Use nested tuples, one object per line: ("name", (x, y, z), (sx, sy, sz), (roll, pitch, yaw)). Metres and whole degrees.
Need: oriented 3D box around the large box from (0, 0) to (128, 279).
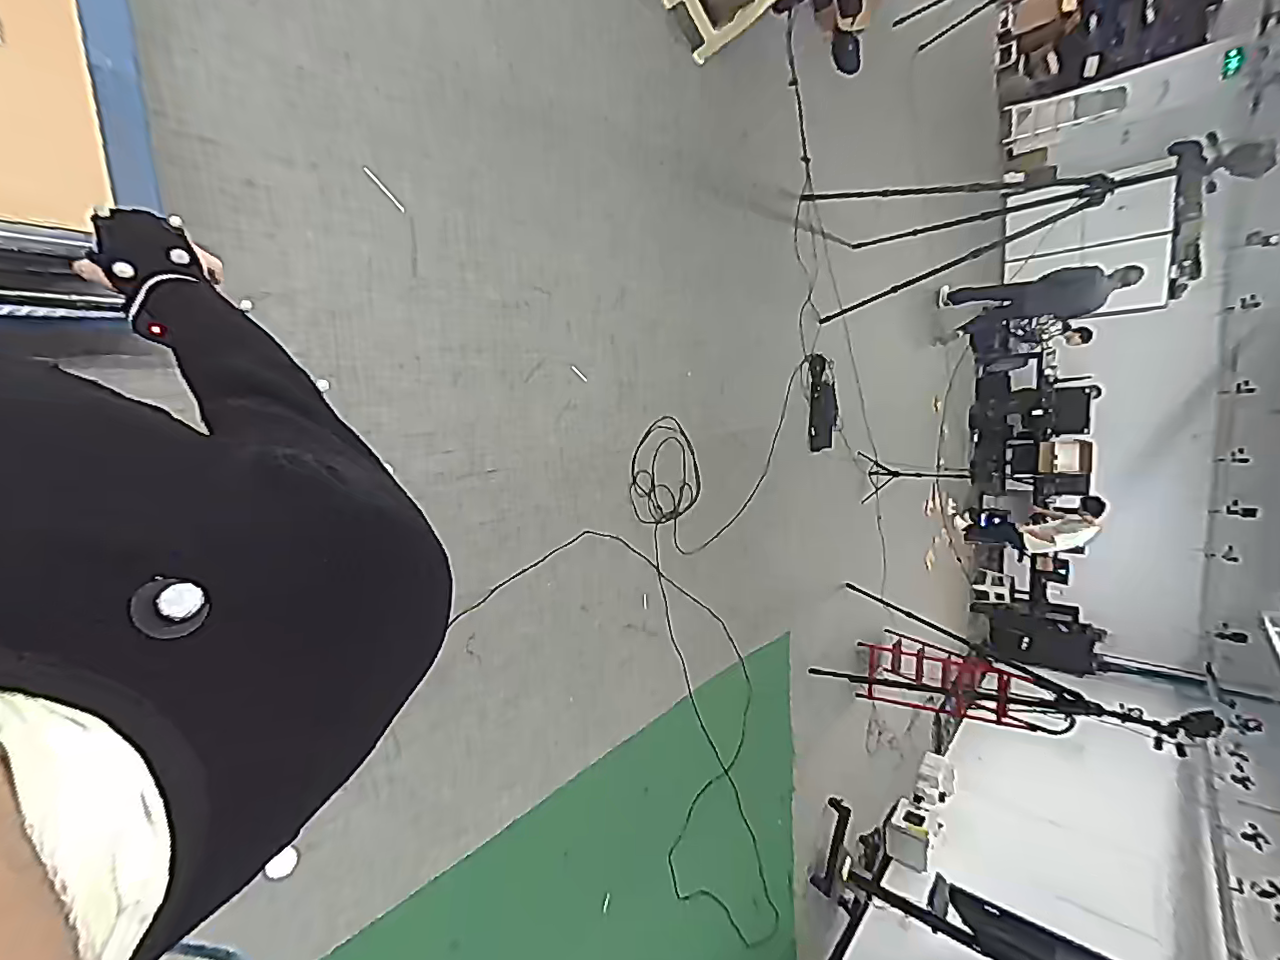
("large box", (-1.035, -0.552, 0.817), (0.320, 0.320, 0.408), (-13, 101, -46))
